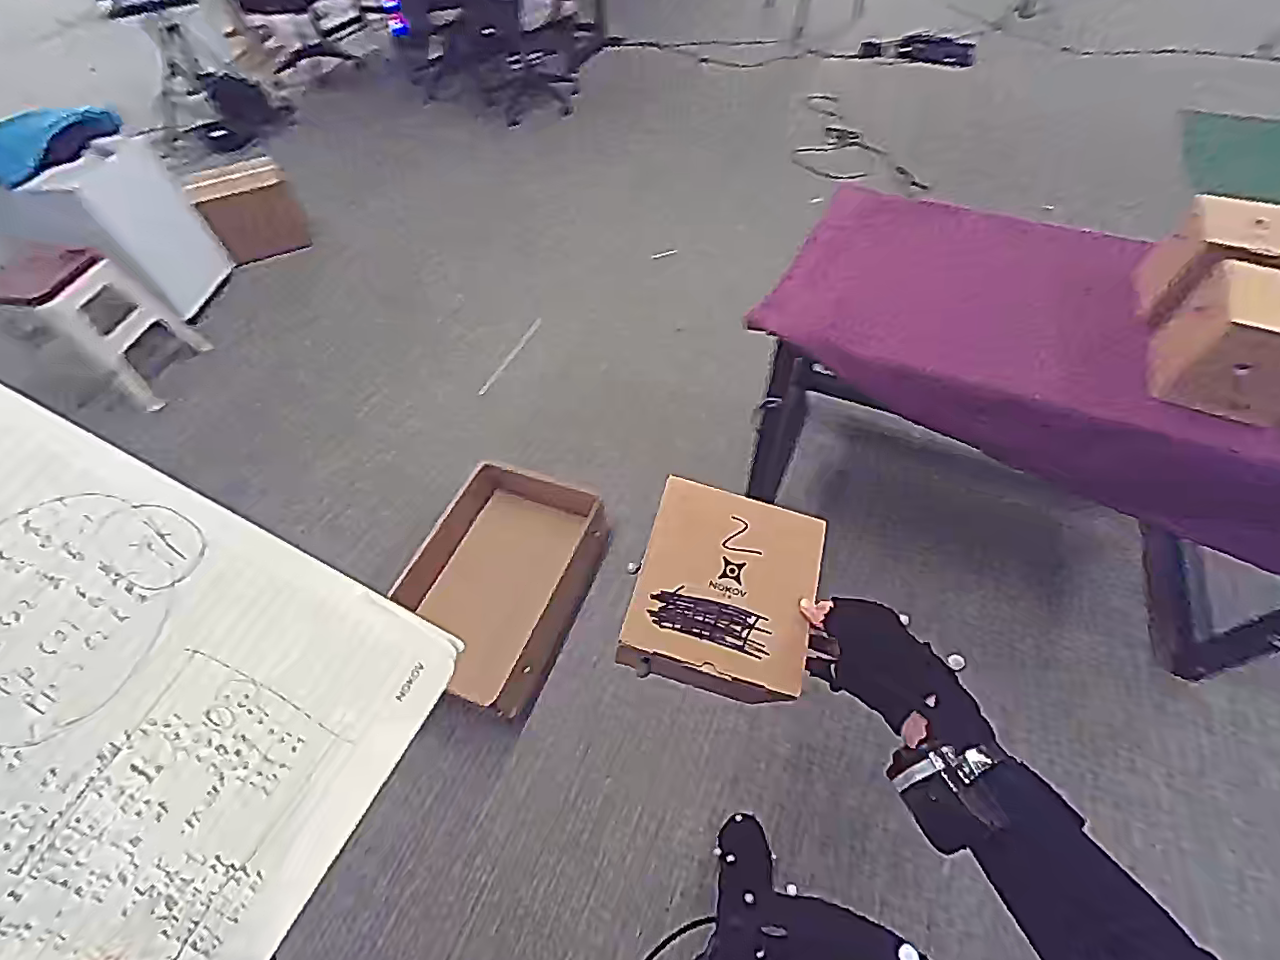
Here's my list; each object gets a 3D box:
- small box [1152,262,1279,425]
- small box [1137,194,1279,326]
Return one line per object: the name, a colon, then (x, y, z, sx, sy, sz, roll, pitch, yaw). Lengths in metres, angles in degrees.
small box: (0.989, -0.218, 0.883, 0.168, 0.176, 0.179, 23, 59, 18)
small box: (1.069, -0.392, 1.000, 0.168, 0.176, 0.179, 21, 59, 17)
